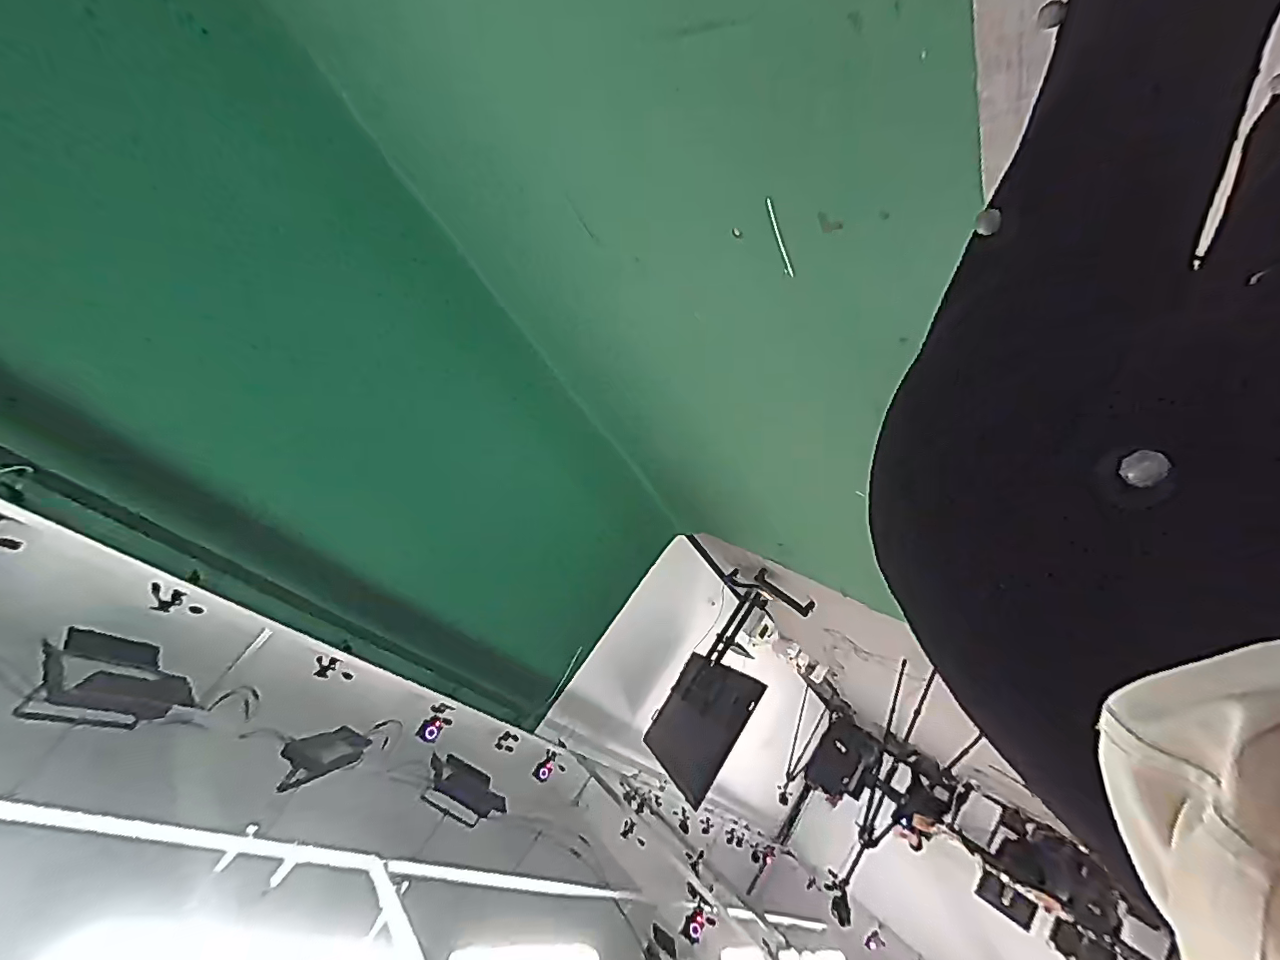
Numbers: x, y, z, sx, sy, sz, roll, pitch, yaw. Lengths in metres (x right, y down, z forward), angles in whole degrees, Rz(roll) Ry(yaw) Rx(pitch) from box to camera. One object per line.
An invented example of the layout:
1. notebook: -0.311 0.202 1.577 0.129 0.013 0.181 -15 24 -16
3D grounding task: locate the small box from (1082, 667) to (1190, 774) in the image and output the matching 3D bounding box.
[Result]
1. small box: 1.280 0.619 1.401 0.168 0.176 0.179 21 158 46

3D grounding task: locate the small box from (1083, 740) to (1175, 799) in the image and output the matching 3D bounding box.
1. small box: 1.415 0.776 1.564 0.168 0.176 0.179 19 155 46

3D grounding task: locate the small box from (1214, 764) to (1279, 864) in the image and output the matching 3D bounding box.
1. small box: 1.602 0.850 1.362 0.168 0.176 0.179 21 158 46
